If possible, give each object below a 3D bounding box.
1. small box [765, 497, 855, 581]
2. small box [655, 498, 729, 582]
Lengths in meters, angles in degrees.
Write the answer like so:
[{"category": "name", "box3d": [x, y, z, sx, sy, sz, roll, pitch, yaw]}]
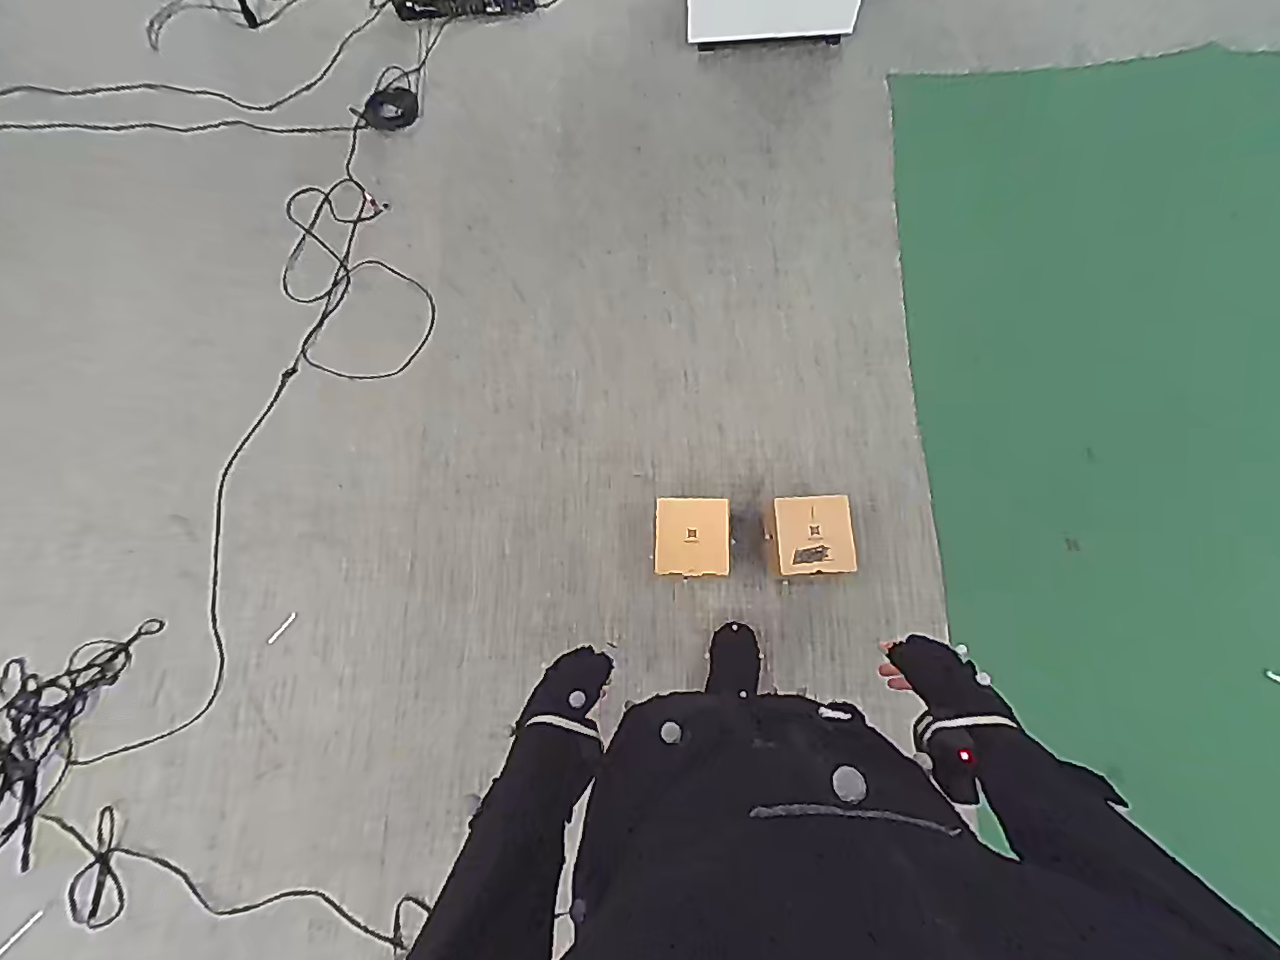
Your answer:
[{"category": "small box", "box3d": [0.391, 0.145, 1.269, 0.168, 0.176, 0.179, -2, 75, 4]}, {"category": "small box", "box3d": [0.123, 0.148, 1.292, 0.168, 0.176, 0.179, 1, 76, 5]}]
